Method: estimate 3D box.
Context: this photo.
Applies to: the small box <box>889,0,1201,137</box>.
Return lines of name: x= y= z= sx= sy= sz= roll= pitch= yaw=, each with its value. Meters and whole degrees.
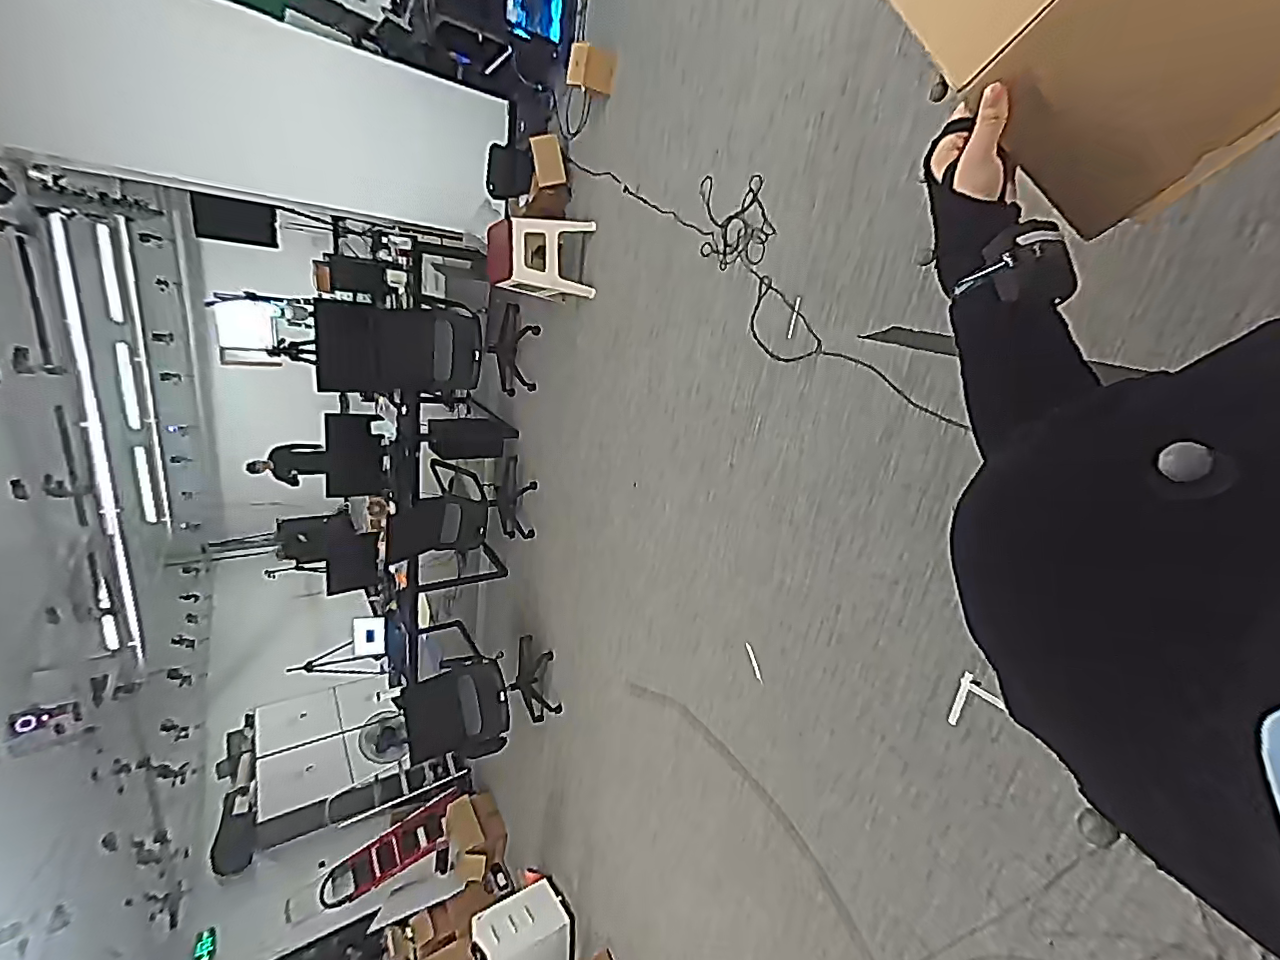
small box: x=0.346 y=-0.442 z=0.475 sx=0.168 sy=0.176 sz=0.179 roll=-38 pitch=63 yaw=44
